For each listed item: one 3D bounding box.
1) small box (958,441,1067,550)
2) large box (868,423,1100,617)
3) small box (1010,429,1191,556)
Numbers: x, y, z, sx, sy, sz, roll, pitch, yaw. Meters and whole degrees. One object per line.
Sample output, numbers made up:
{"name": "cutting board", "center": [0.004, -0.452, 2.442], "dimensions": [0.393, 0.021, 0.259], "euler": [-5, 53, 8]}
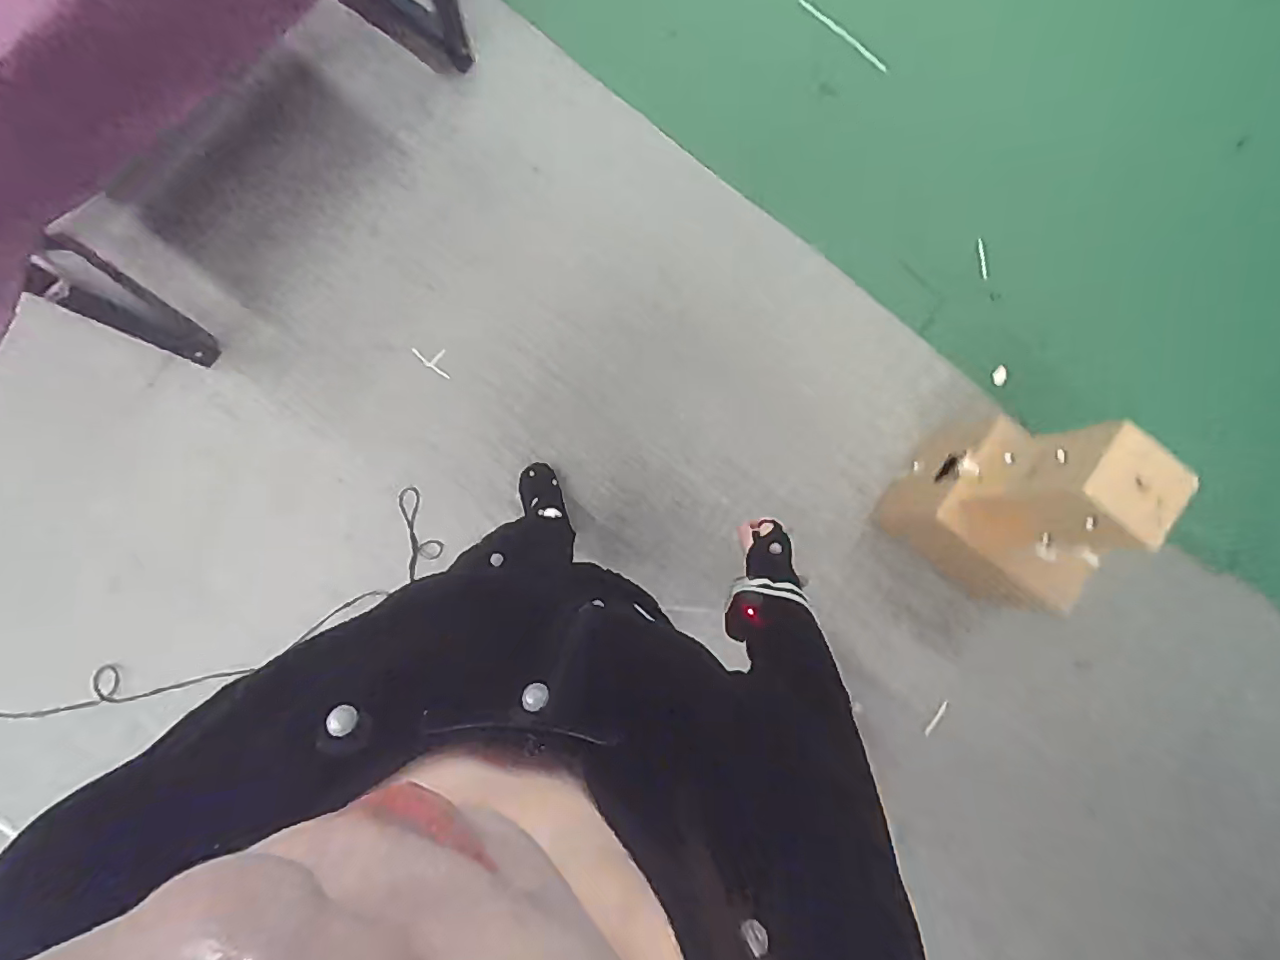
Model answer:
{"name": "small box", "center": [0.868, 0.040, 1.214], "dimensions": [0.179, 0.176, 0.168], "euler": [40, 82, -2]}
{"name": "large box", "center": [0.920, 0.108, 1.459], "dimensions": [0.408, 0.320, 0.320], "euler": [38, 82, -2]}
{"name": "small box", "center": [0.878, 0.030, 1.049], "dimensions": [0.179, 0.176, 0.168], "euler": [40, 83, -2]}
